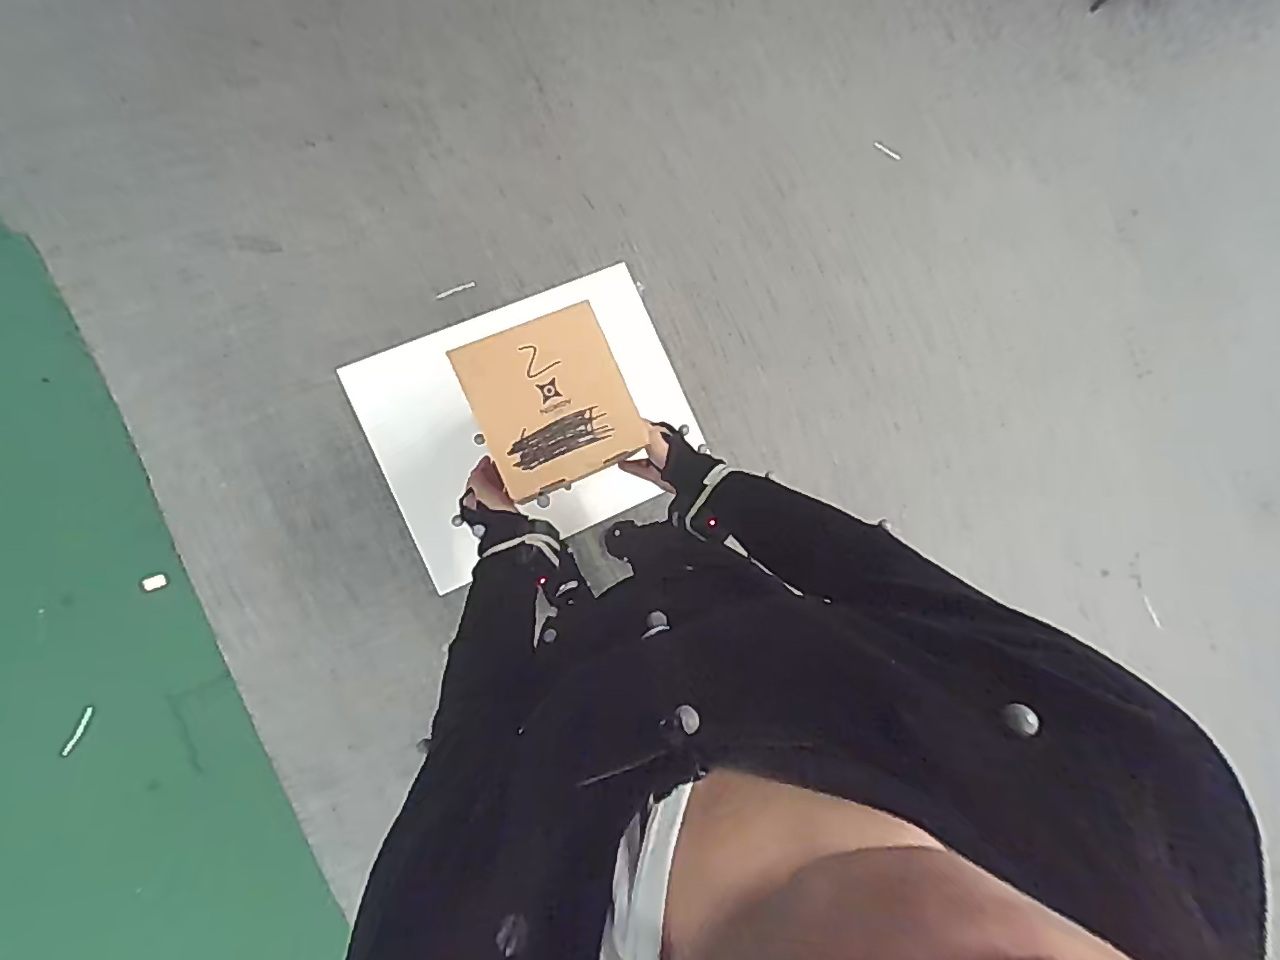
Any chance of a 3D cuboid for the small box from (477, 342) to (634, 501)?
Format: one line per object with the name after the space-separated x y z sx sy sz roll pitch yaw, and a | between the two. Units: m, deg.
-0.128 -0.077 0.816 0.168 0.176 0.179 -24 90 -10 | small box
